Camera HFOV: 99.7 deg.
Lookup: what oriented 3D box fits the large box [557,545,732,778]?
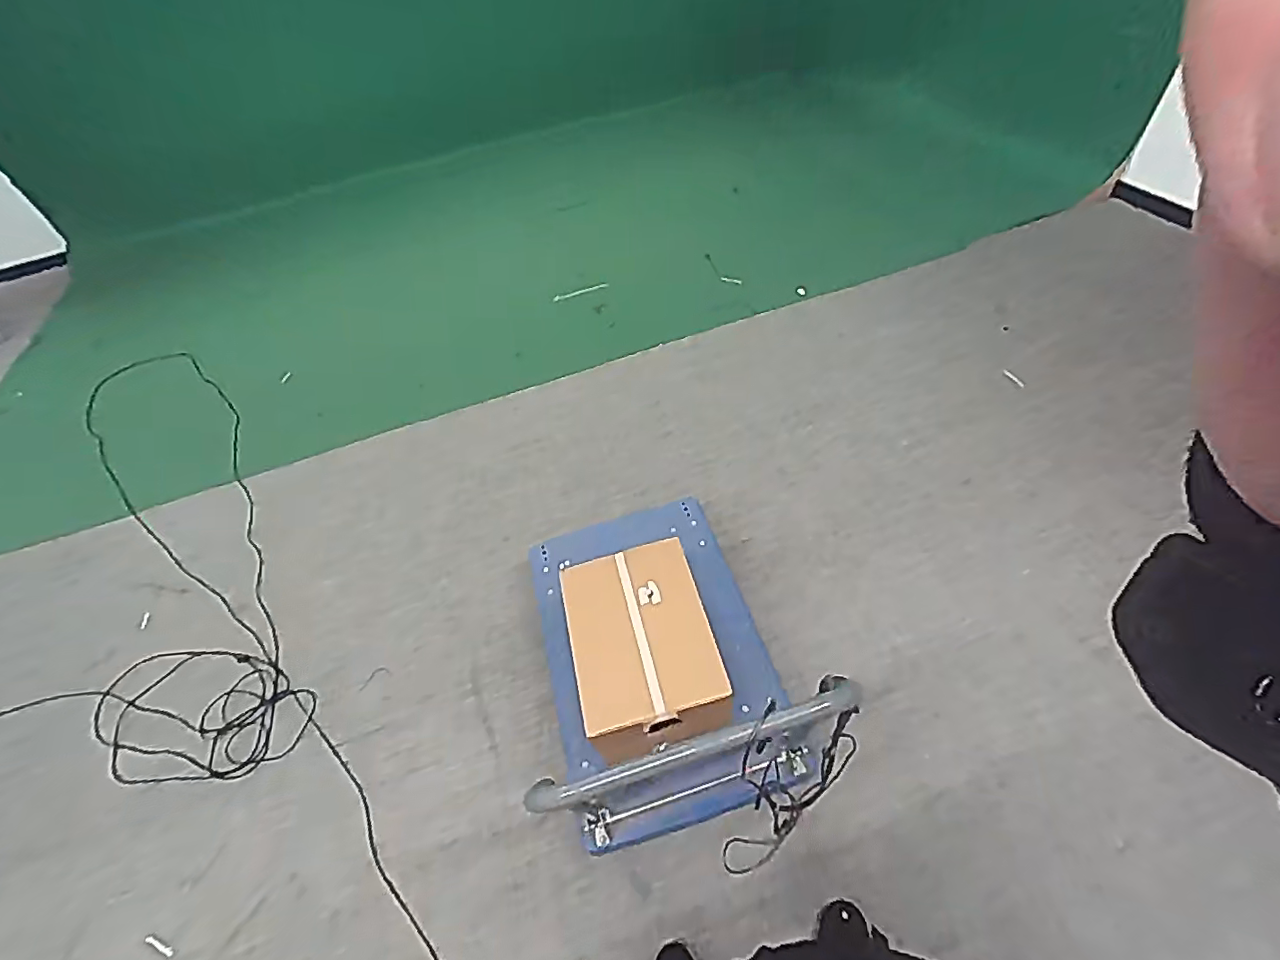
[{"bbox_3d":[0.011,0.439,1.319,0.320,0.320,0.408,-15,50,-4],"label":"large box"}]
